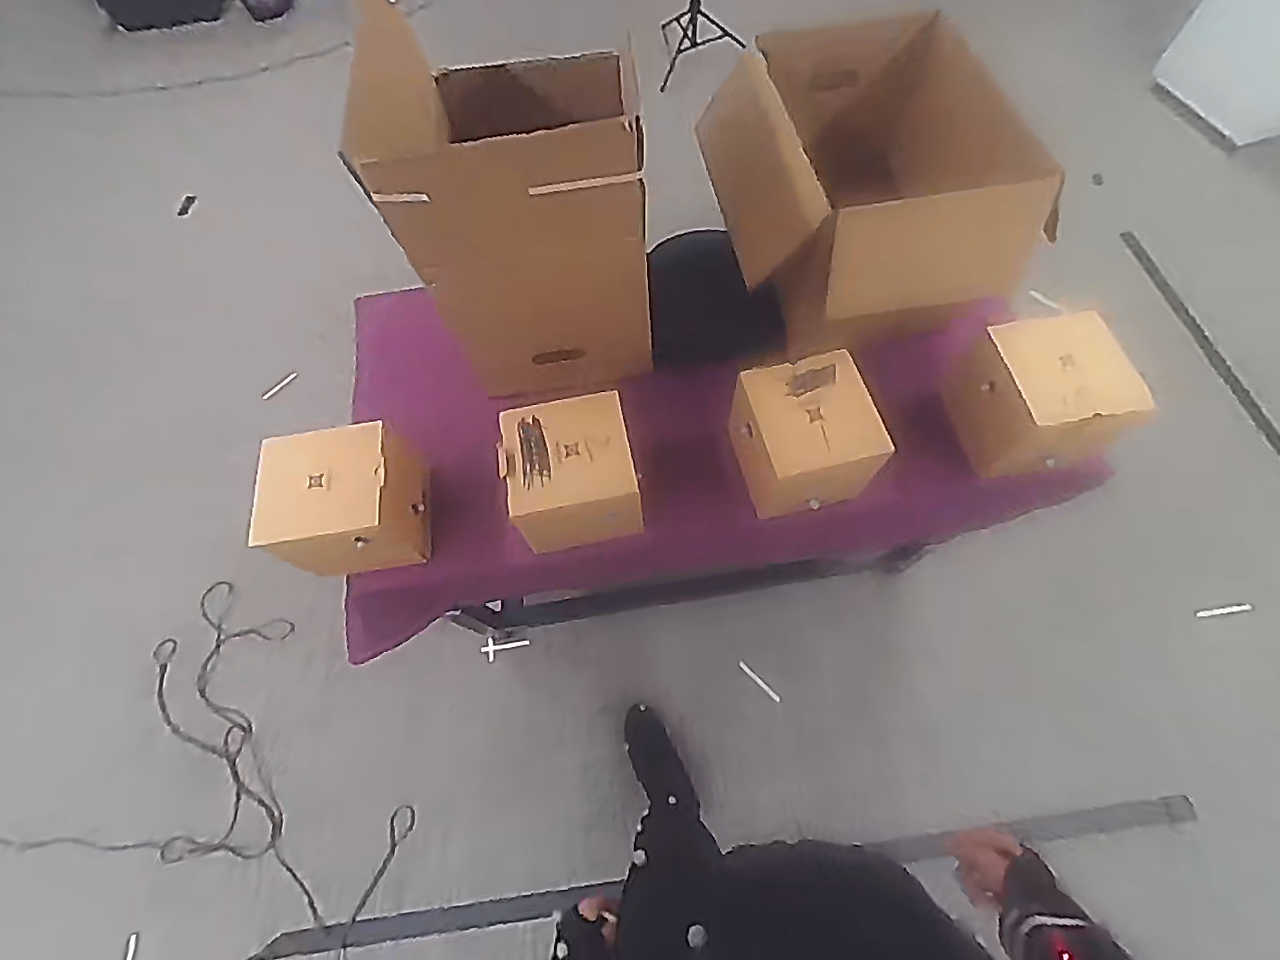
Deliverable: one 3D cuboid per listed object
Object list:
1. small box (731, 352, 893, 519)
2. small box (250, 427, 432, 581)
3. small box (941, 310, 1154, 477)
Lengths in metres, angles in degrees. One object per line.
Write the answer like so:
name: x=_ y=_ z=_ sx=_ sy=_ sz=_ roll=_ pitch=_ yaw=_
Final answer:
small box: x=0.243 y=-0.061 z=0.820 sx=0.168 sy=0.176 sz=0.179 roll=-13 pitch=67 yaw=-2
small box: x=-0.432 y=0.044 z=0.812 sx=0.179 sy=0.176 sz=0.168 roll=-10 pitch=66 yaw=-3
small box: x=0.598 y=-0.126 z=0.826 sx=0.168 sy=0.176 sz=0.179 roll=-10 pitch=65 yaw=0
